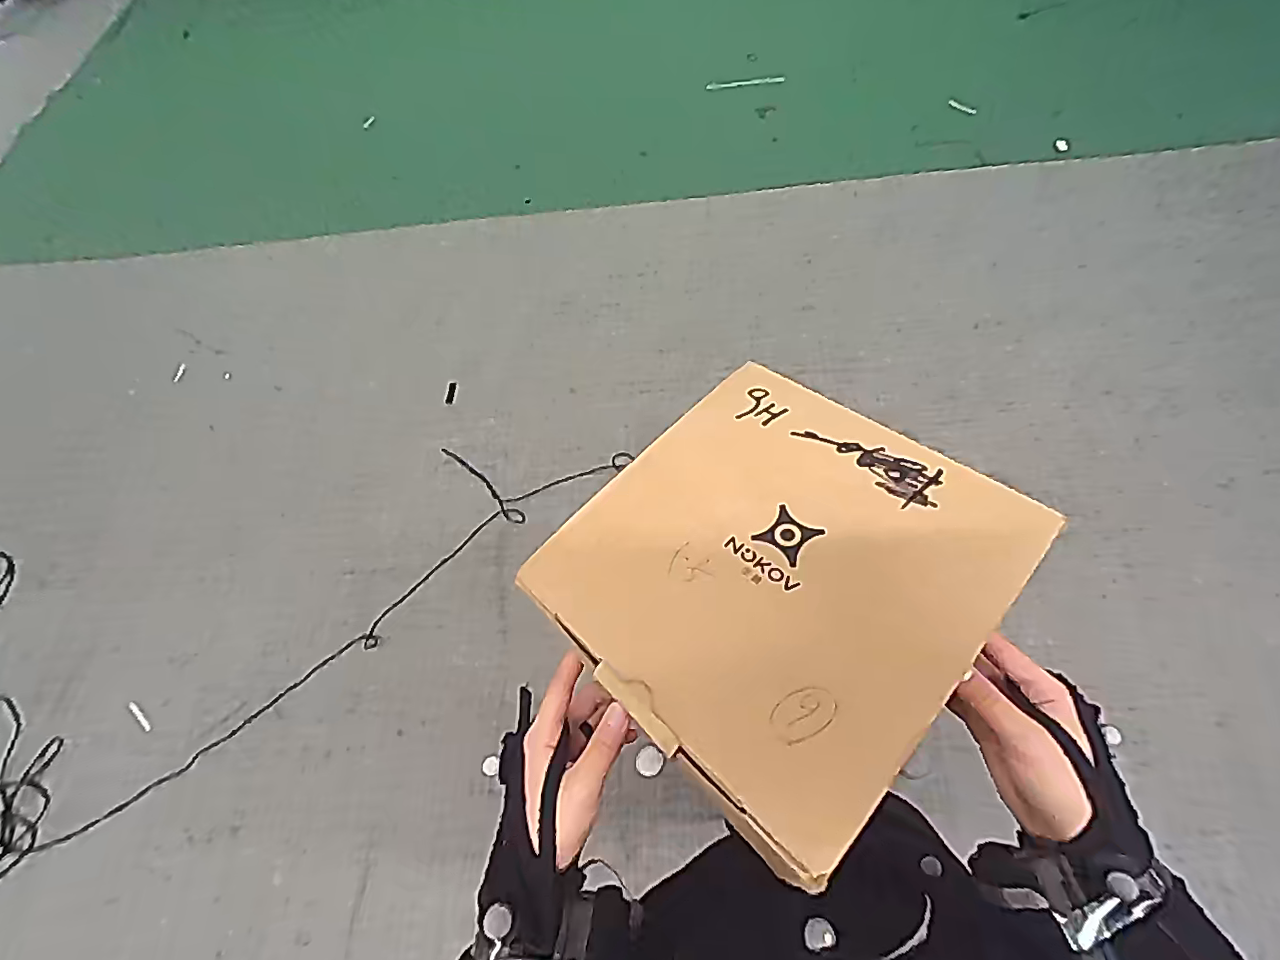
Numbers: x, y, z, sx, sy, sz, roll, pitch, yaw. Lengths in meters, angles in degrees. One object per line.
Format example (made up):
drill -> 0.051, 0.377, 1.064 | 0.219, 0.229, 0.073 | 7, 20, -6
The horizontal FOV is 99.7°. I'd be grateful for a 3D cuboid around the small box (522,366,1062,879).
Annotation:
small box -> 0.073, 0.078, 0.299 | 0.179, 0.176, 0.168 | -43, 57, -18
